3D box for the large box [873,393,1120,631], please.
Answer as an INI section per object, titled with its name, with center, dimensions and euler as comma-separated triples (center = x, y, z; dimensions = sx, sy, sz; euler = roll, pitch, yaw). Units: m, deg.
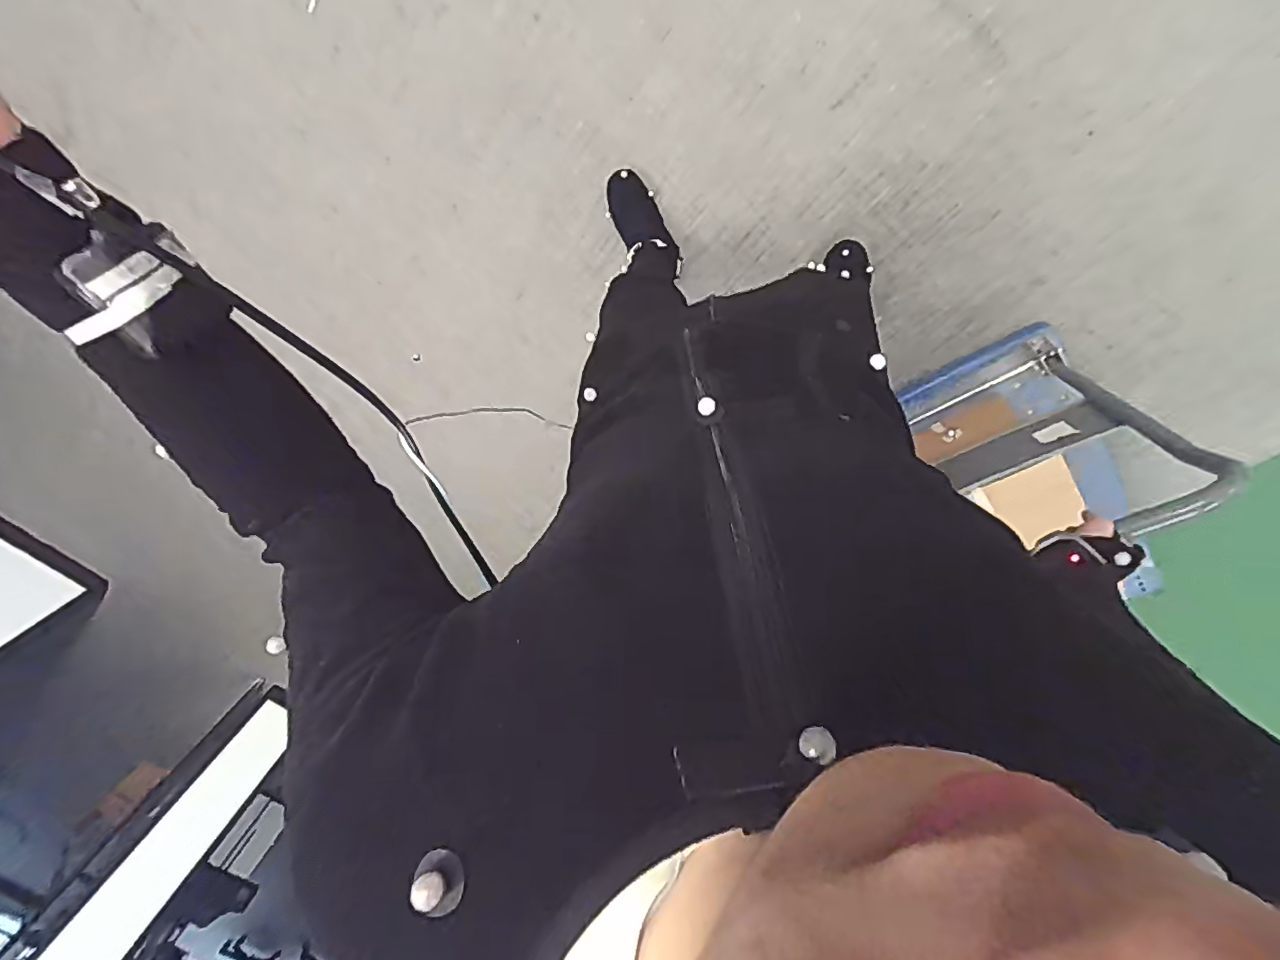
[large box]
center = 0.820, 0.073, 1.291
dimensions = 0.320, 0.320, 0.408
euler = -30, 111, 26
